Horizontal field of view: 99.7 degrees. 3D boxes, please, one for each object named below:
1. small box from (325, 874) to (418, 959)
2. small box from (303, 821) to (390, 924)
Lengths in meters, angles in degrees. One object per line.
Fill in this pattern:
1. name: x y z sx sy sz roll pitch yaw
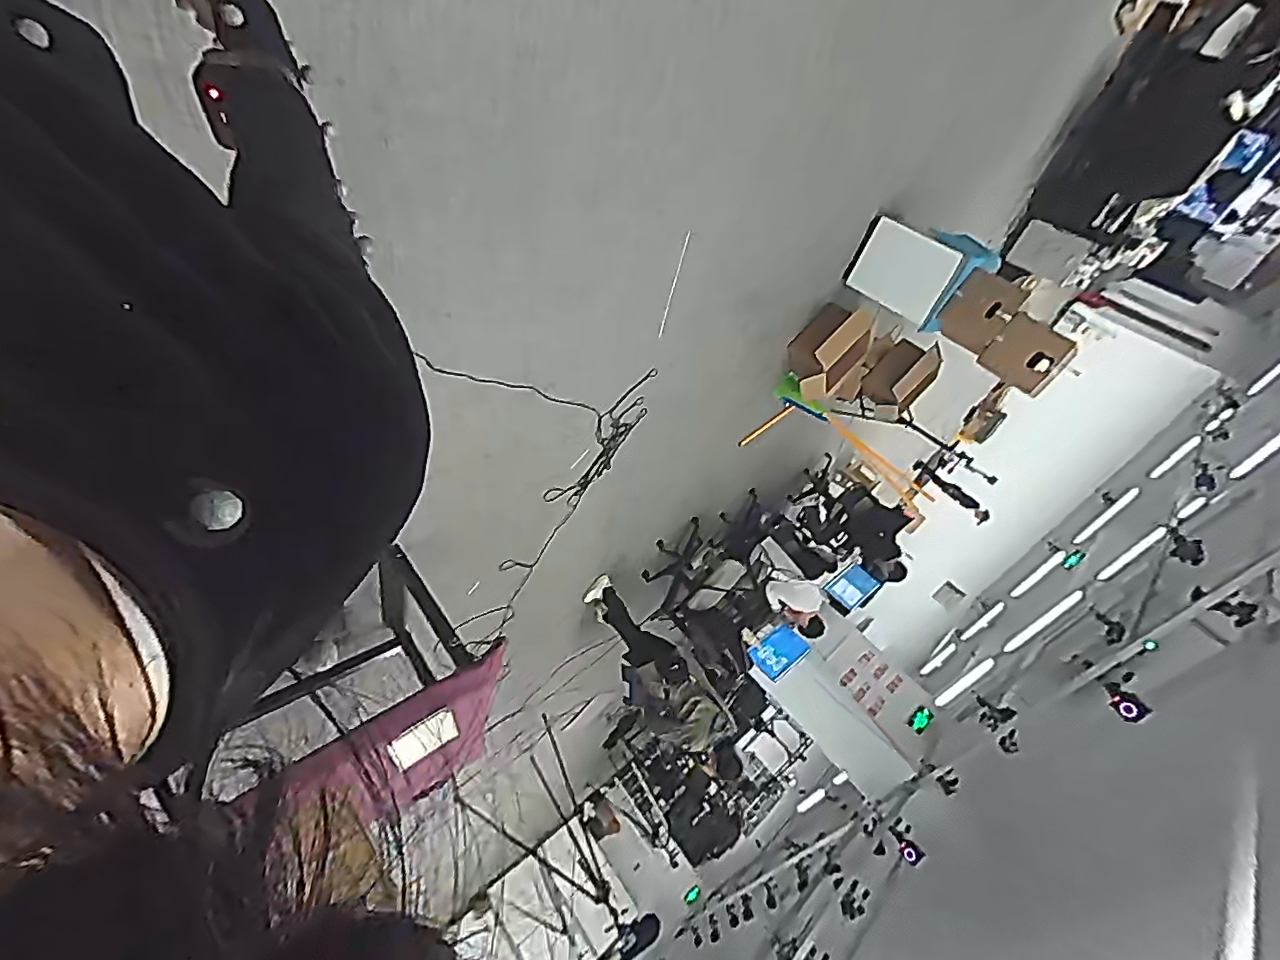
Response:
1. small box: -0.713 1.198 1.426 0.179 0.176 0.168 -20 146 -42
2. small box: -0.815 1.095 1.506 0.168 0.176 0.179 -22 146 -40
